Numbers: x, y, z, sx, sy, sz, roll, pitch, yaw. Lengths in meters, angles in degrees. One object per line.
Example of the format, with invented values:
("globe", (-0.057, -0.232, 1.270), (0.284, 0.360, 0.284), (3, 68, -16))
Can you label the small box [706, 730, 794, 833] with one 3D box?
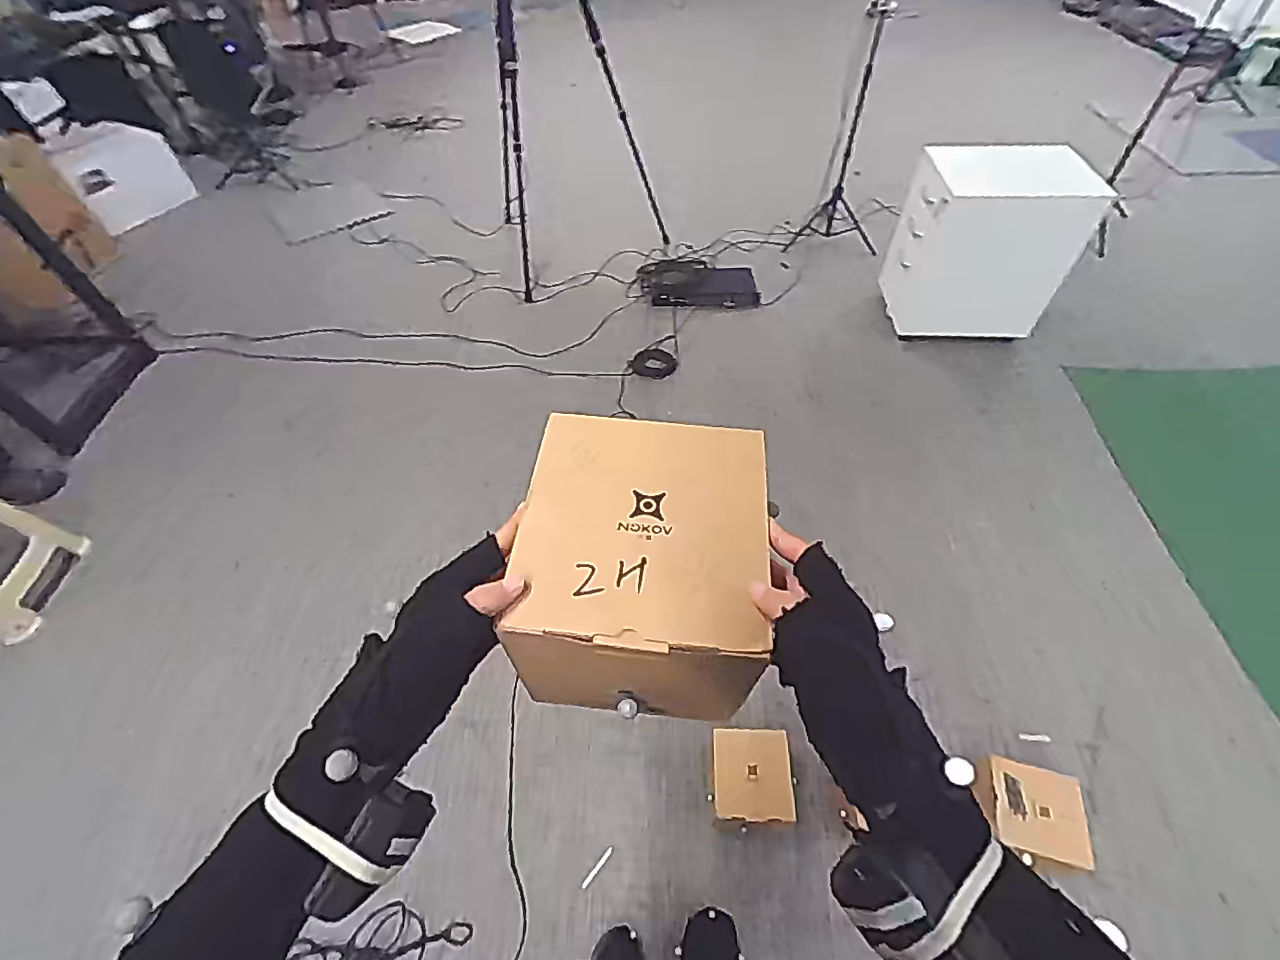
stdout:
("small box", (0.238, 0.679, 1.217), (0.168, 0.176, 0.179), (0, 52, 3))

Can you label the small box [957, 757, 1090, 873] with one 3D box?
("small box", (0.805, 0.724, 1.161), (0.179, 0.176, 0.168), (13, 54, 10))
